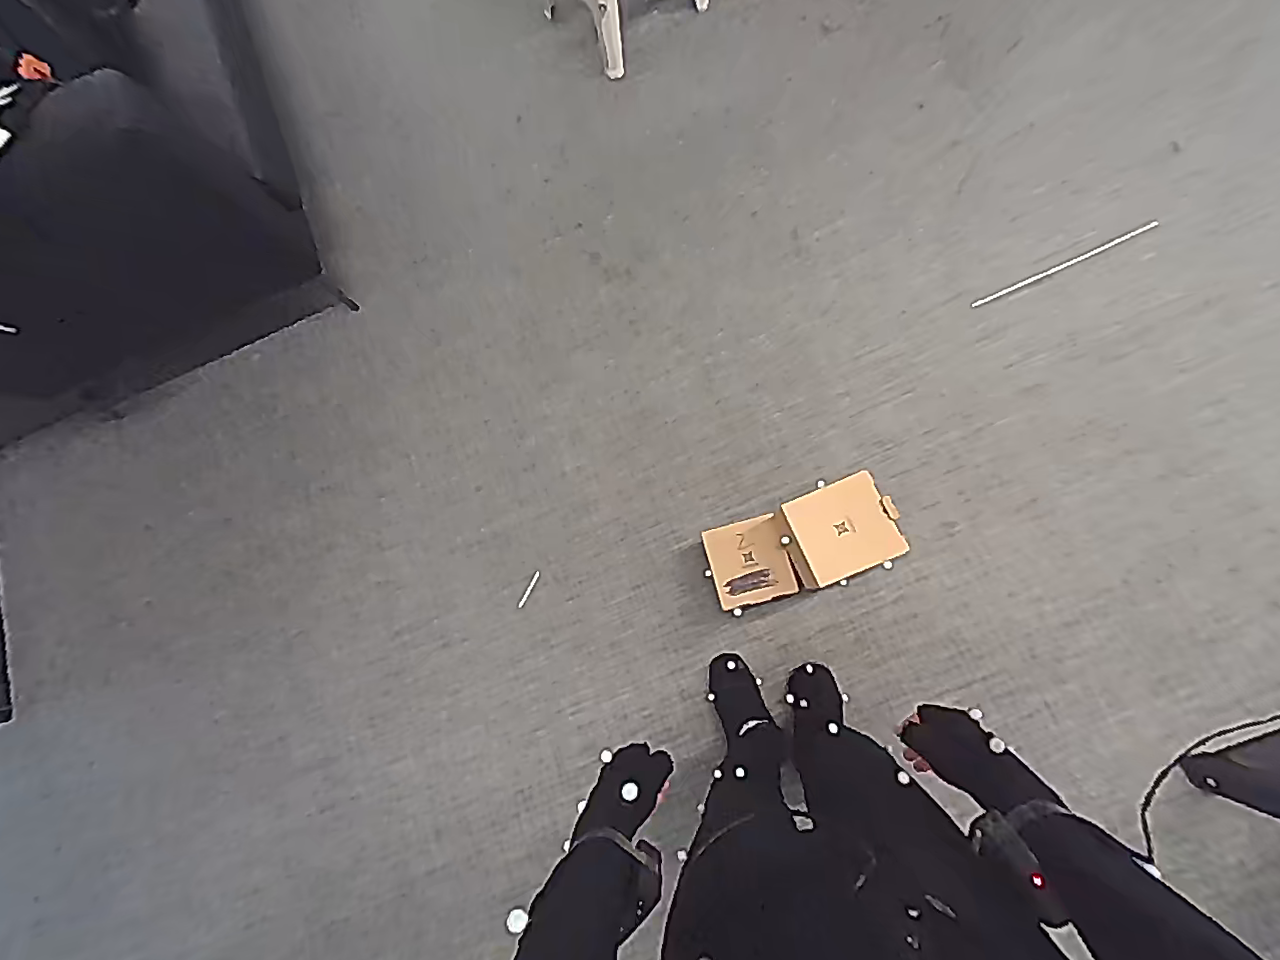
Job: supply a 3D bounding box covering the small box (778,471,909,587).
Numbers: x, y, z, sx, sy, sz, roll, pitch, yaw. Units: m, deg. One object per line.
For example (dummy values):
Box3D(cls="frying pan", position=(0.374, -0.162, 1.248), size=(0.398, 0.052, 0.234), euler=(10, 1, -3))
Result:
Box3D(cls="small box", position=(0.384, 0.105, 1.062), size=(0.179, 0.176, 0.168), euler=(-24, 76, 2))
